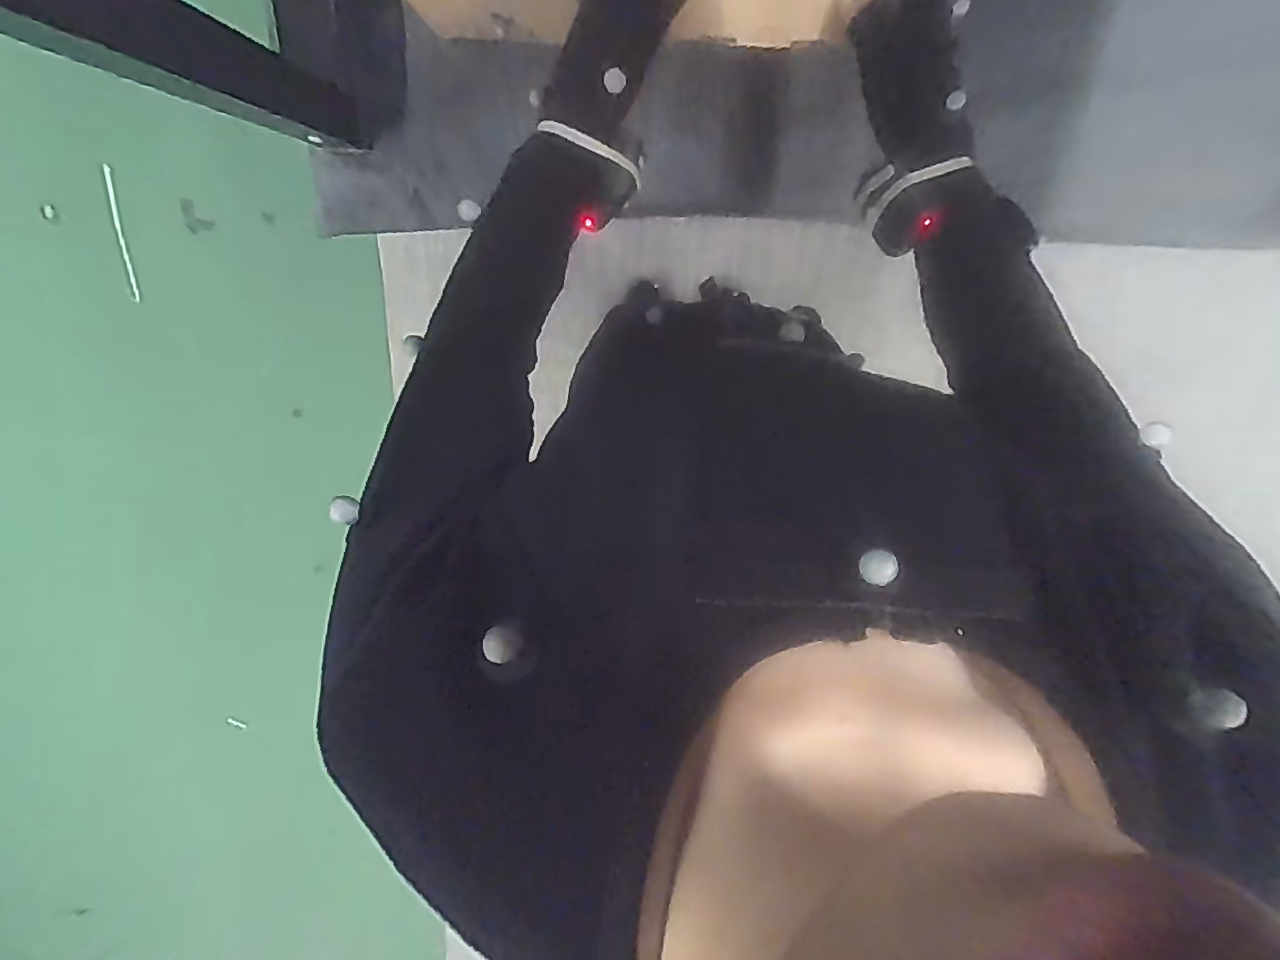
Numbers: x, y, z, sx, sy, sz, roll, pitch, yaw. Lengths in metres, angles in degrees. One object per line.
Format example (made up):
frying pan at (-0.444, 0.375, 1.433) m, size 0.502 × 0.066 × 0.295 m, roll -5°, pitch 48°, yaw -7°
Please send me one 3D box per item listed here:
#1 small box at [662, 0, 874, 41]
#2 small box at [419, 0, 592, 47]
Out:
small box at (0.105, -0.473, 0.415) m, size 0.168 × 0.176 × 0.179 m, roll 4°, pitch 143°, yaw 3°
small box at (-0.131, -0.521, 0.470) m, size 0.168 × 0.176 × 0.179 m, roll 4°, pitch 110°, yaw 2°
